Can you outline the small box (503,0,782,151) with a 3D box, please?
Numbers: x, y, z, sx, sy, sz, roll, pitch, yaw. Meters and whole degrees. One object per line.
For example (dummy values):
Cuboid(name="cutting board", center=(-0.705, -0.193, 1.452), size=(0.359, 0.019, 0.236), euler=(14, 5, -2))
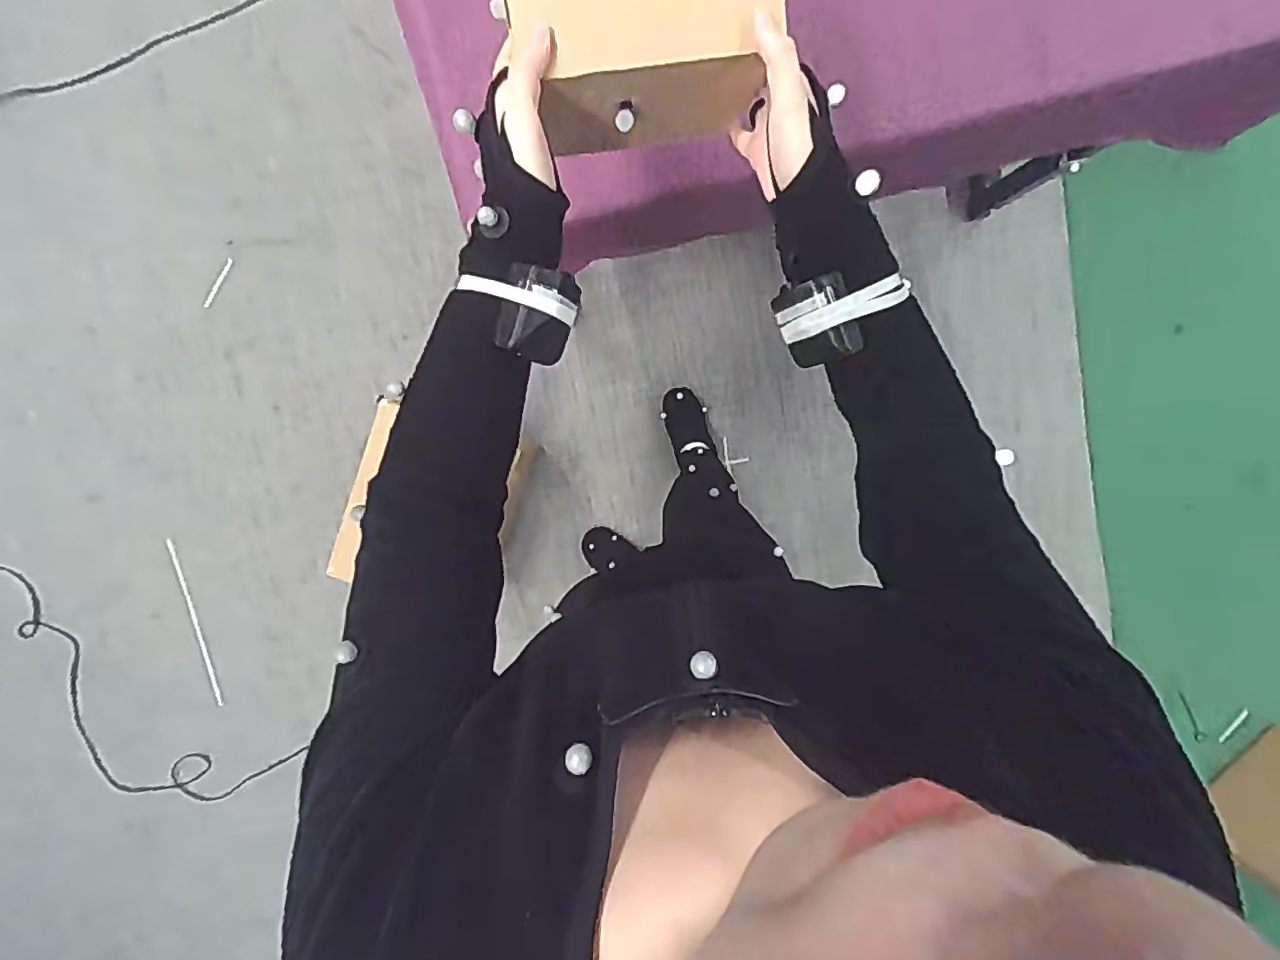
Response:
Cuboid(name="small box", center=(-0.006, -0.366, 0.402), size=(0.179, 0.176, 0.168), euler=(-8, 107, -1))
